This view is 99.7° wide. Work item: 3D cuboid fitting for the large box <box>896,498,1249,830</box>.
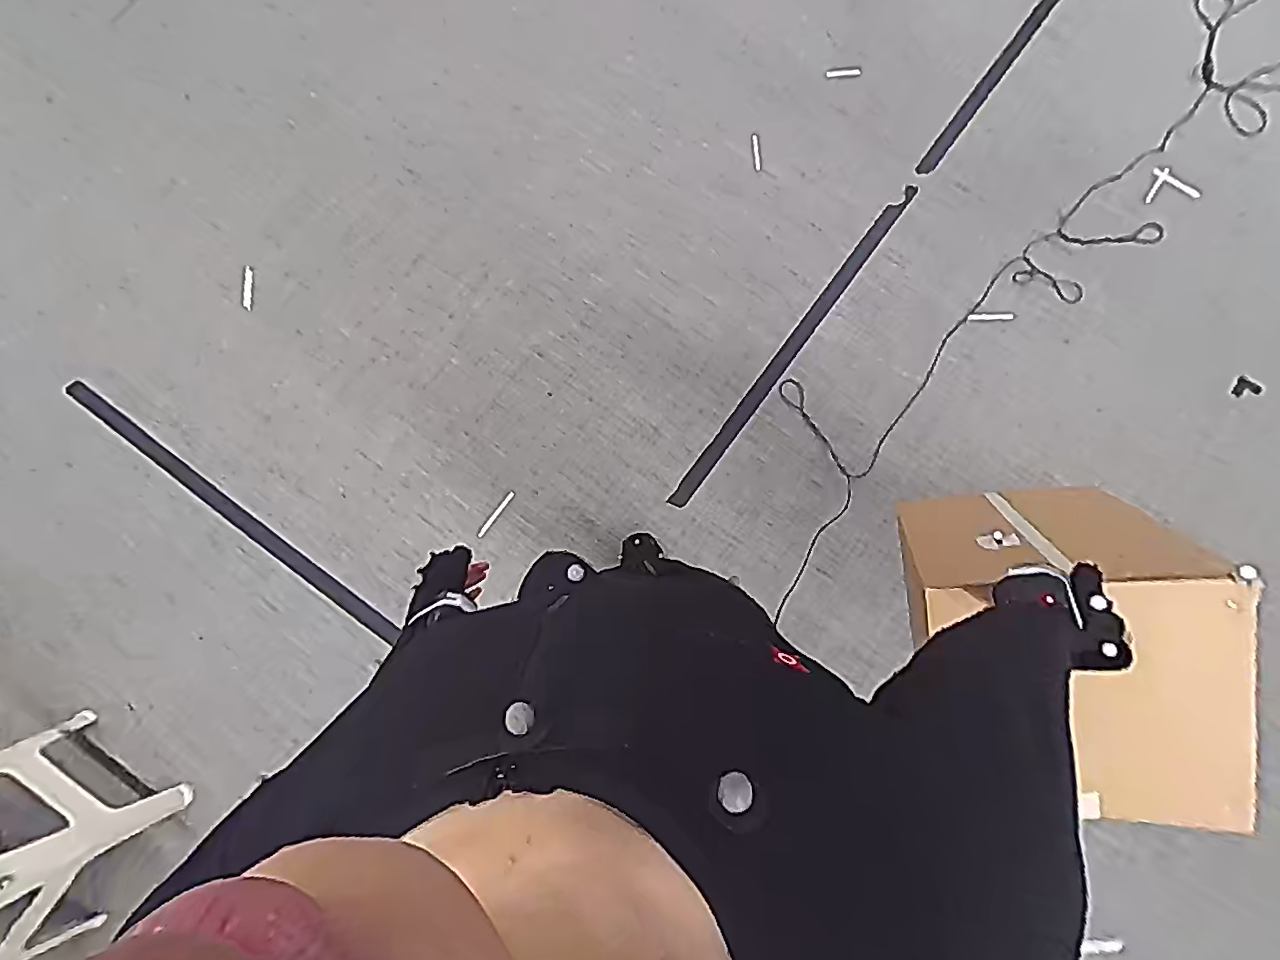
[{"bbox_3d":[0.596,0.235,0.839,0.320,0.408,0.320,-6,102,22],"label":"large box"}]
